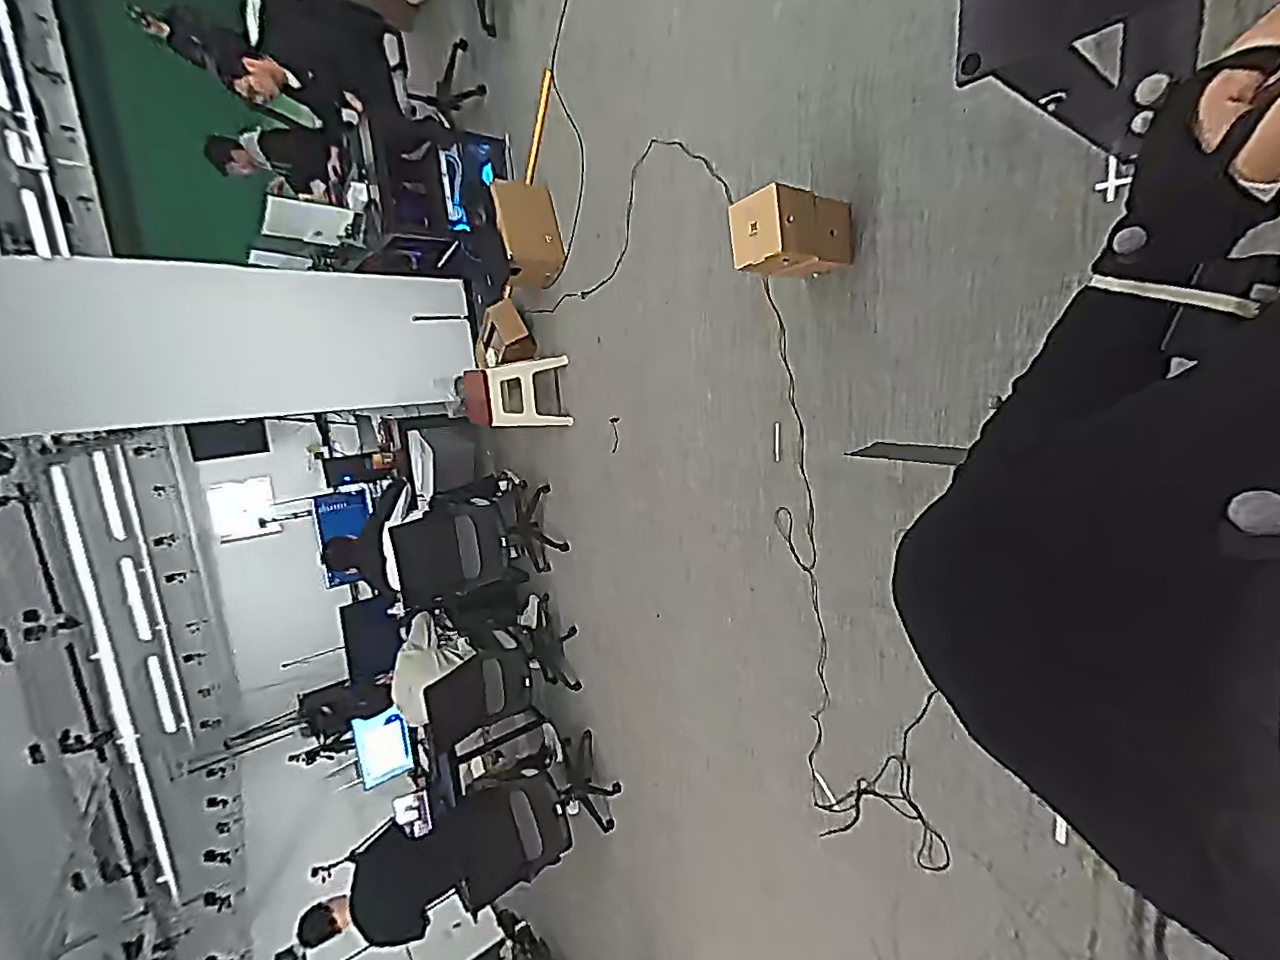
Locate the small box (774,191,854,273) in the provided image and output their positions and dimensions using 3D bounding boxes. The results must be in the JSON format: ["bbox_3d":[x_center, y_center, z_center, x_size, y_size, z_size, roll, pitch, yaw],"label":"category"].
[{"bbox_3d":[0.506,-0.716,1.582,0.168,0.176,0.179,6,105,53],"label":"small box"}]

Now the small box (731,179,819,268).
[{"bbox_3d":[0.375,-0.695,1.487,0.168,0.176,0.179,0,99,53],"label":"small box"}]
